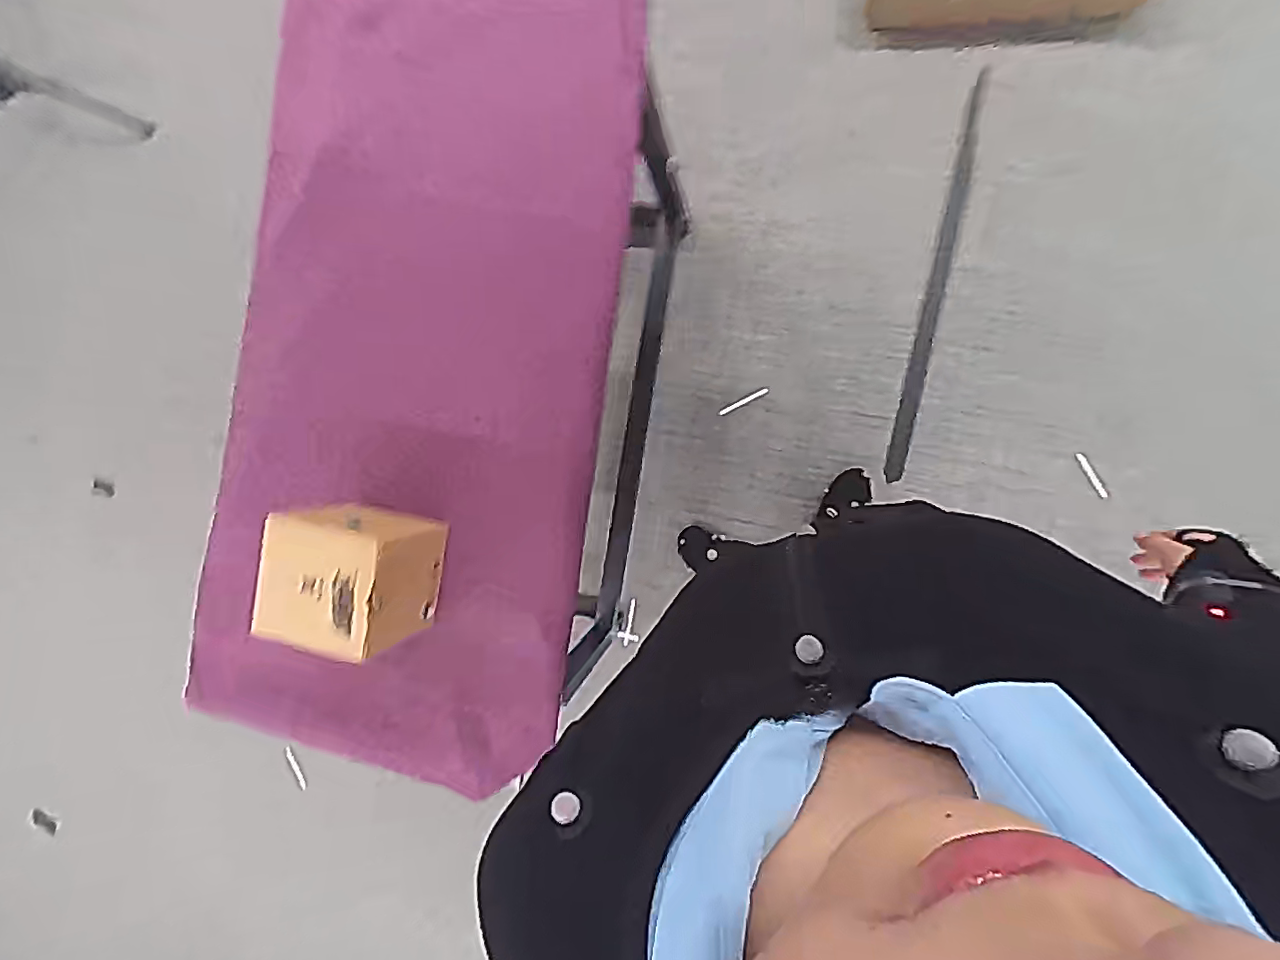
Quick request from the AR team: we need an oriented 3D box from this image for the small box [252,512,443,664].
[{"bbox_3d":[-0.414,0.144,0.791,0.179,0.176,0.168,10,93,11],"label":"small box"}]
